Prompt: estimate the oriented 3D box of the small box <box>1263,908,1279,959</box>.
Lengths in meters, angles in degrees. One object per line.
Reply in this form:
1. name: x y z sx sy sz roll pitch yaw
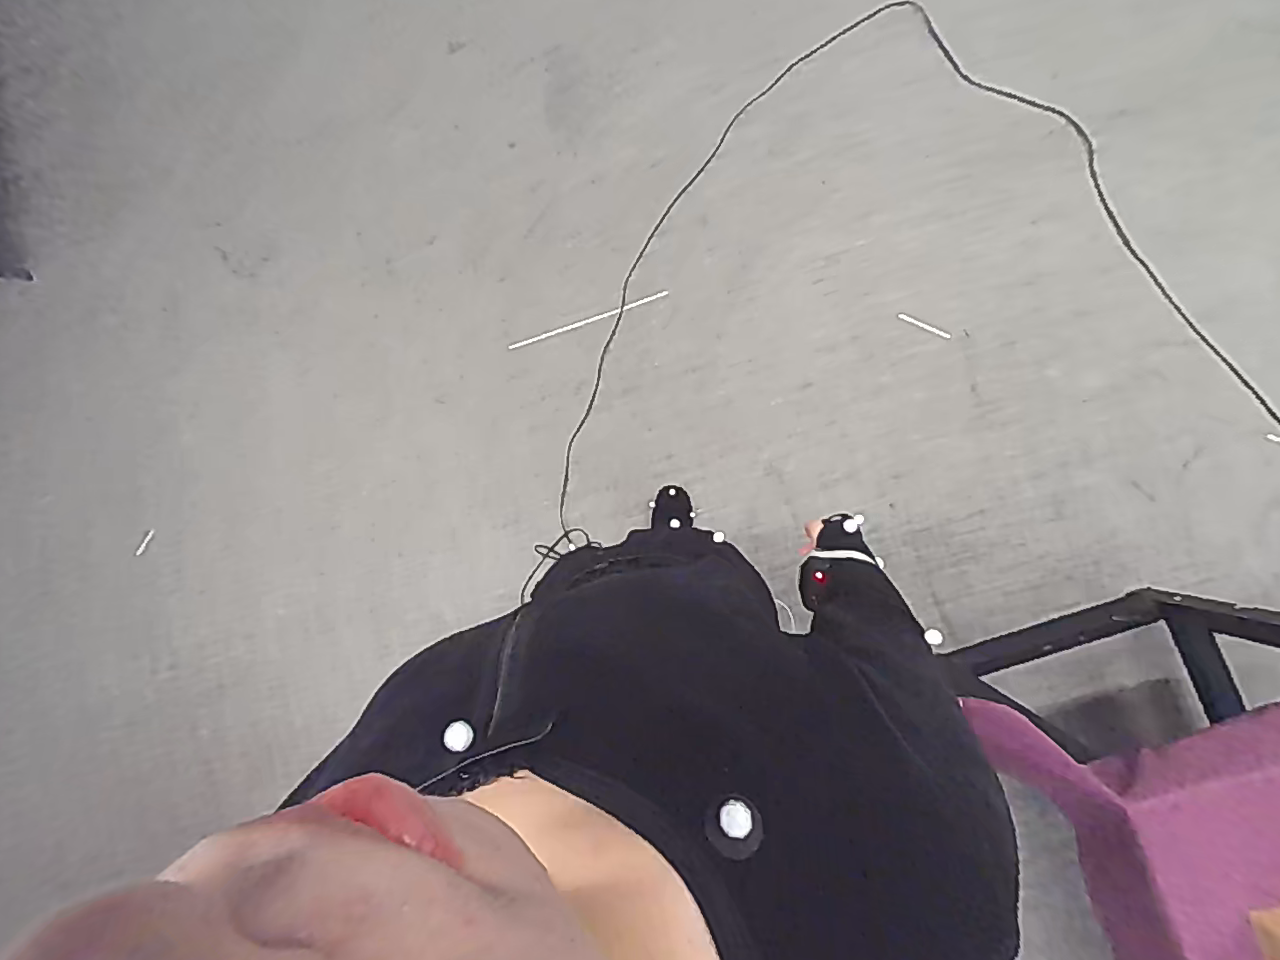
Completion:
1. small box: 0.825 0.573 0.560 0.179 0.176 0.168 -17 86 6
